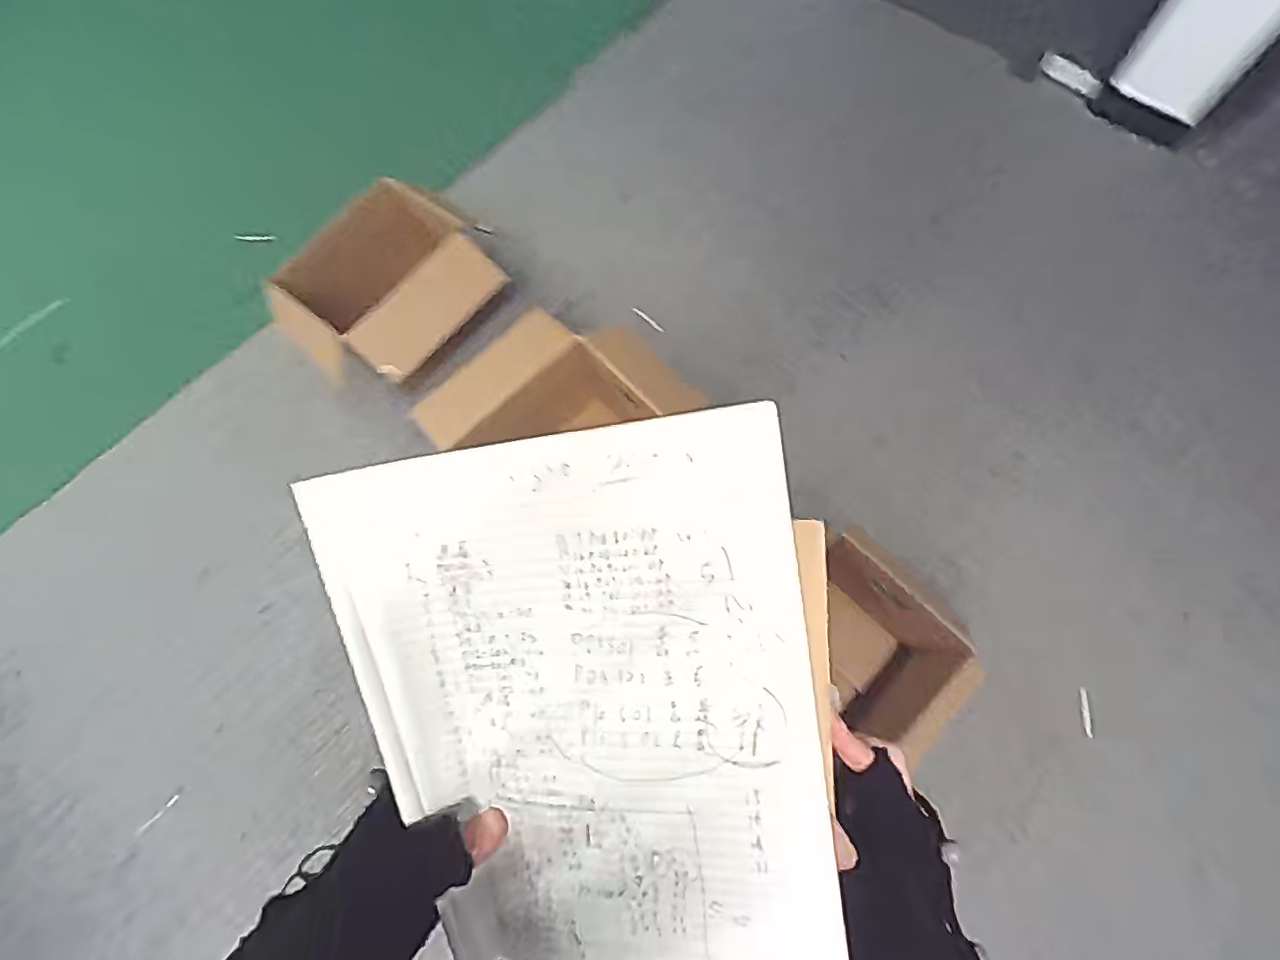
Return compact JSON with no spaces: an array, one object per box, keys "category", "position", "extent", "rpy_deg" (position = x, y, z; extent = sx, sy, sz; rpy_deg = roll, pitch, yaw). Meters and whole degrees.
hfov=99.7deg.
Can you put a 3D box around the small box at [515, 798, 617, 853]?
[{"category":"small box","position":[-0.142,0.643,1.147],"extent":[0.179,0.176,0.168],"rpy_deg":[17,80,25]}]

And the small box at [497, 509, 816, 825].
[{"category":"small box","position":[0.021,0.110,0.379],"extent":[0.179,0.176,0.168],"rpy_deg":[-2,79,12]}]
